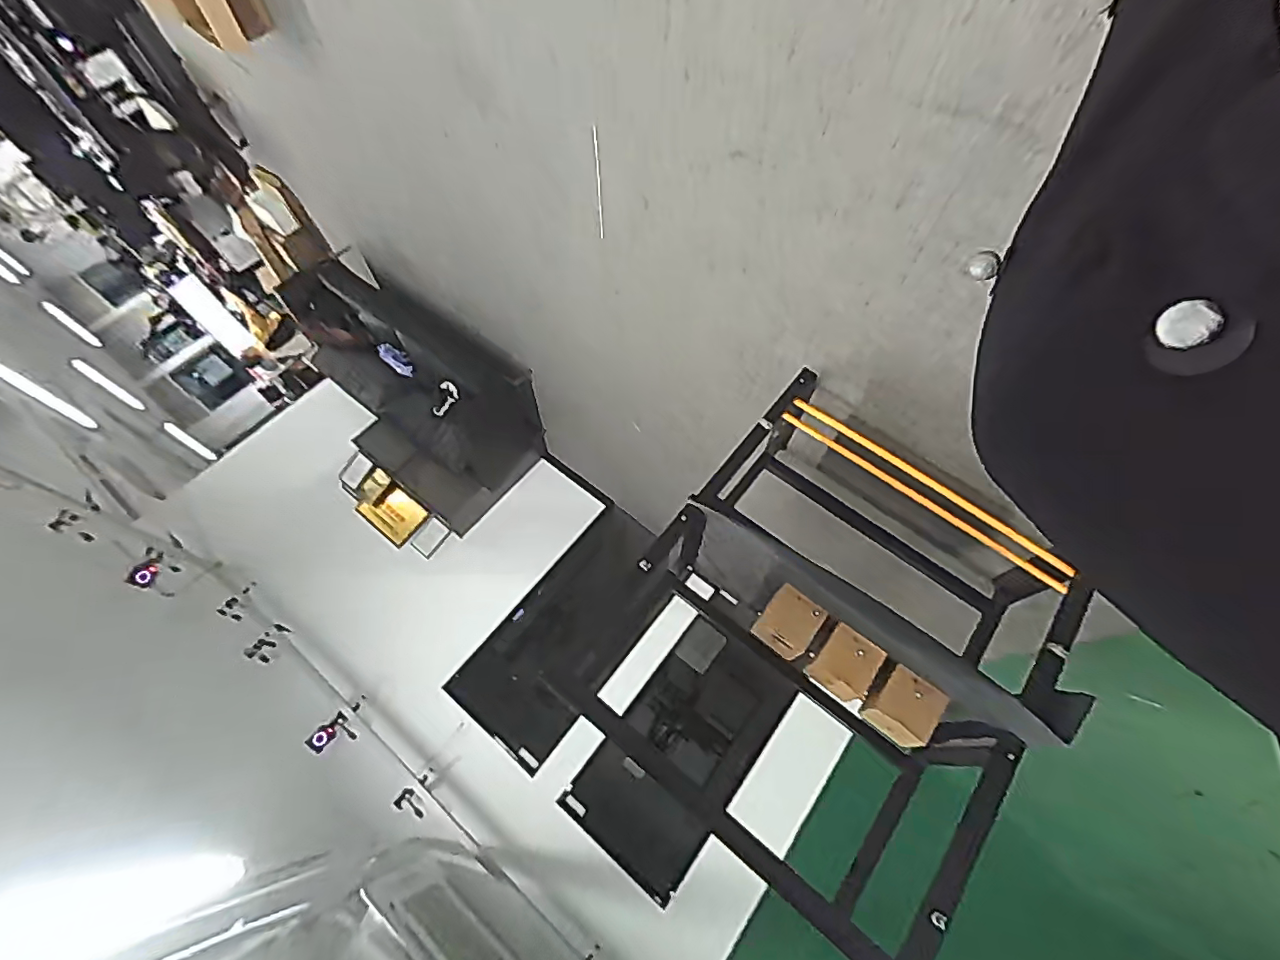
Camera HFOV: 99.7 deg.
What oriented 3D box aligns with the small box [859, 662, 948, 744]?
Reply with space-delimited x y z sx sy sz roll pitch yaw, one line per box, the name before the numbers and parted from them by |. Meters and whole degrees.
small box | 0.826 0.698 1.692 0.168 0.176 0.179 35 158 18
